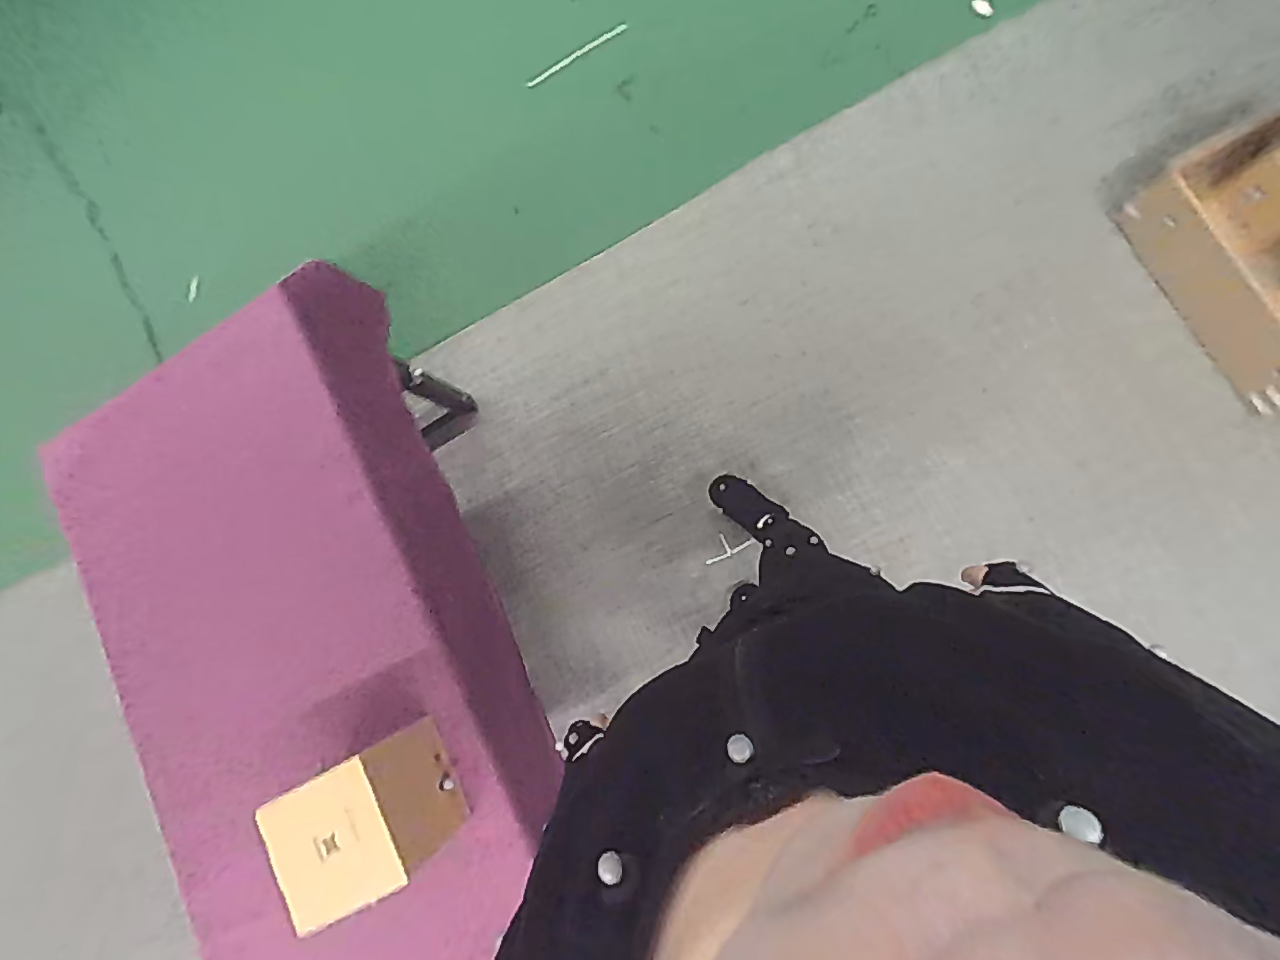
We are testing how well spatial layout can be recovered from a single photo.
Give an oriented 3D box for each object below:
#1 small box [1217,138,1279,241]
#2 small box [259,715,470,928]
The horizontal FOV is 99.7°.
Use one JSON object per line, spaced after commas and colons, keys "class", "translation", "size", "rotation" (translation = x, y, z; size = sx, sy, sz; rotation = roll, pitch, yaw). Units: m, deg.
{"class": "small box", "translation": [1.475, -0.676, 1.214], "size": [0.179, 0.176, 0.168], "rotation": [-23, 81, 8]}
{"class": "small box", "translation": [-0.379, 0.468, 0.769], "size": [0.179, 0.176, 0.168], "rotation": [-29, 80, 6]}
